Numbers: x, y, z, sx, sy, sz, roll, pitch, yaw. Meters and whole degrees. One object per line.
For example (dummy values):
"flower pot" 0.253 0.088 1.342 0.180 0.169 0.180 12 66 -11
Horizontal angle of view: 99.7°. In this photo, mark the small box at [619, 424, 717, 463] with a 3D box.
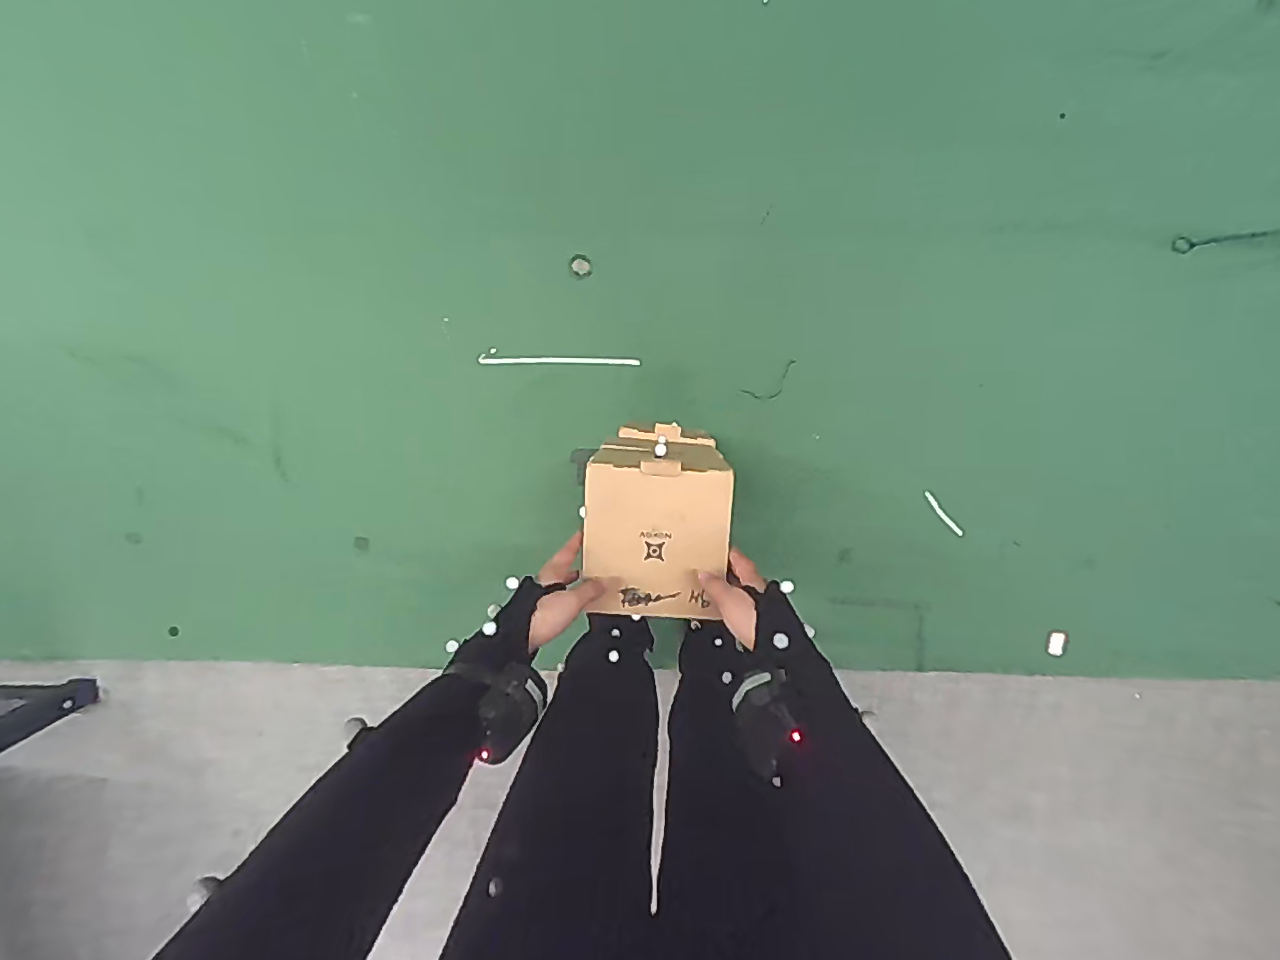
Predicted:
"small box" 0.041 -0.003 1.008 0.168 0.176 0.179 8 100 0

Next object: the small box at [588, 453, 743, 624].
"small box" 0.026 0.063 0.689 0.168 0.176 0.179 4 101 -1
